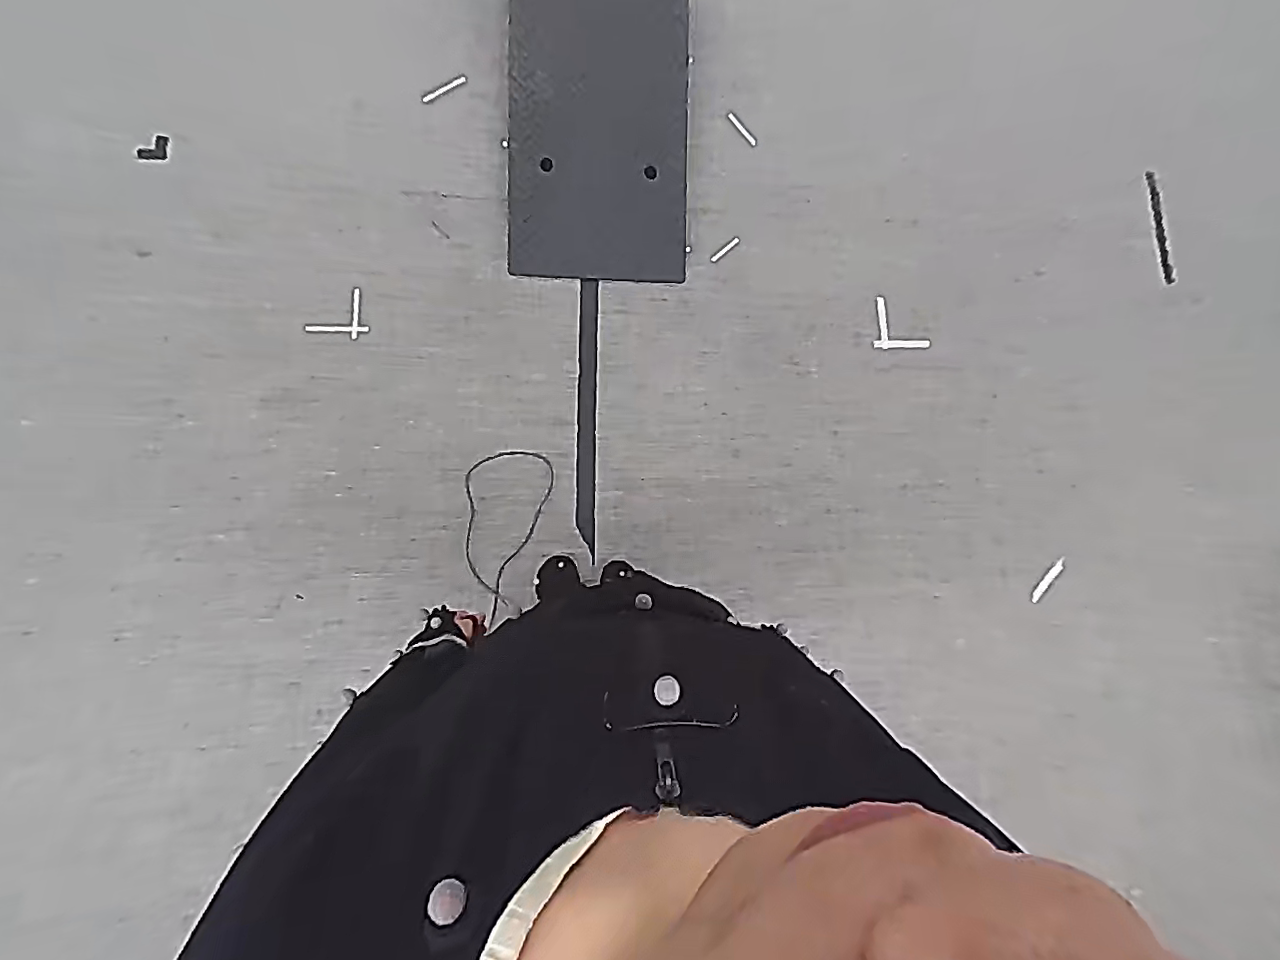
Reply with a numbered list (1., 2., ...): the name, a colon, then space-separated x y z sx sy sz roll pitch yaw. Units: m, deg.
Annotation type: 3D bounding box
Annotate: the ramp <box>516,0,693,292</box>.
1. ramp: -0.093 -1.029 1.496 0.509 0.206 0.991 -2 82 -8
